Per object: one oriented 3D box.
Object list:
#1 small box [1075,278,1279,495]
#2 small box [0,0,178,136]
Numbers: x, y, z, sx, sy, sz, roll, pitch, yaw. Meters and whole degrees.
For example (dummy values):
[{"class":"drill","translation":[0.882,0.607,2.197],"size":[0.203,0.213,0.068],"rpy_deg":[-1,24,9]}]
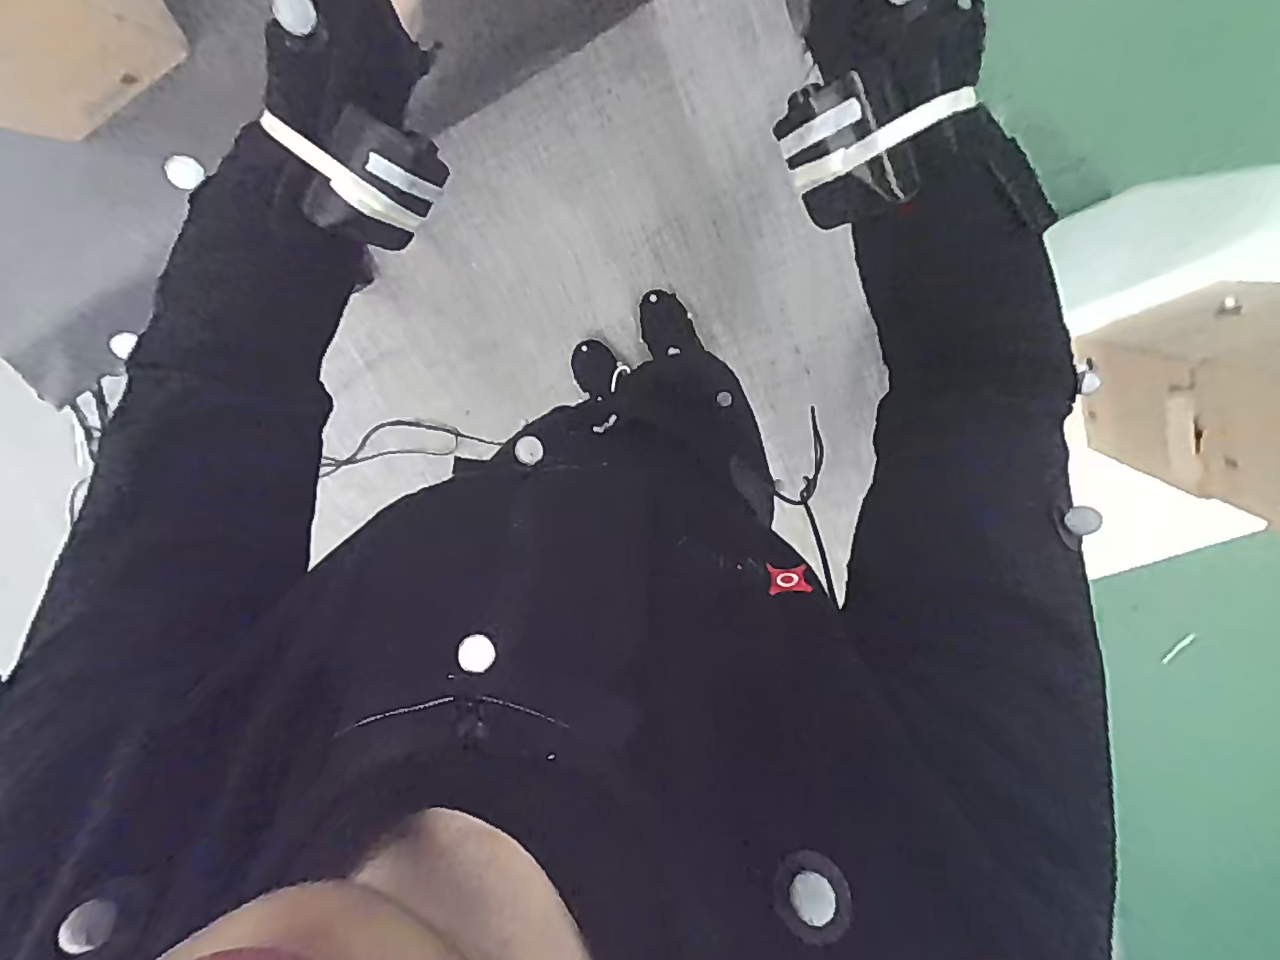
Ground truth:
[{"class":"small box","translation":[0.631,-0.111,0.606],"size":[0.179,0.176,0.168],"rpy_deg":[-22,110,10]},{"class":"small box","translation":[-0.524,-0.401,0.405],"size":[0.168,0.176,0.179],"rpy_deg":[-24,109,12]}]
